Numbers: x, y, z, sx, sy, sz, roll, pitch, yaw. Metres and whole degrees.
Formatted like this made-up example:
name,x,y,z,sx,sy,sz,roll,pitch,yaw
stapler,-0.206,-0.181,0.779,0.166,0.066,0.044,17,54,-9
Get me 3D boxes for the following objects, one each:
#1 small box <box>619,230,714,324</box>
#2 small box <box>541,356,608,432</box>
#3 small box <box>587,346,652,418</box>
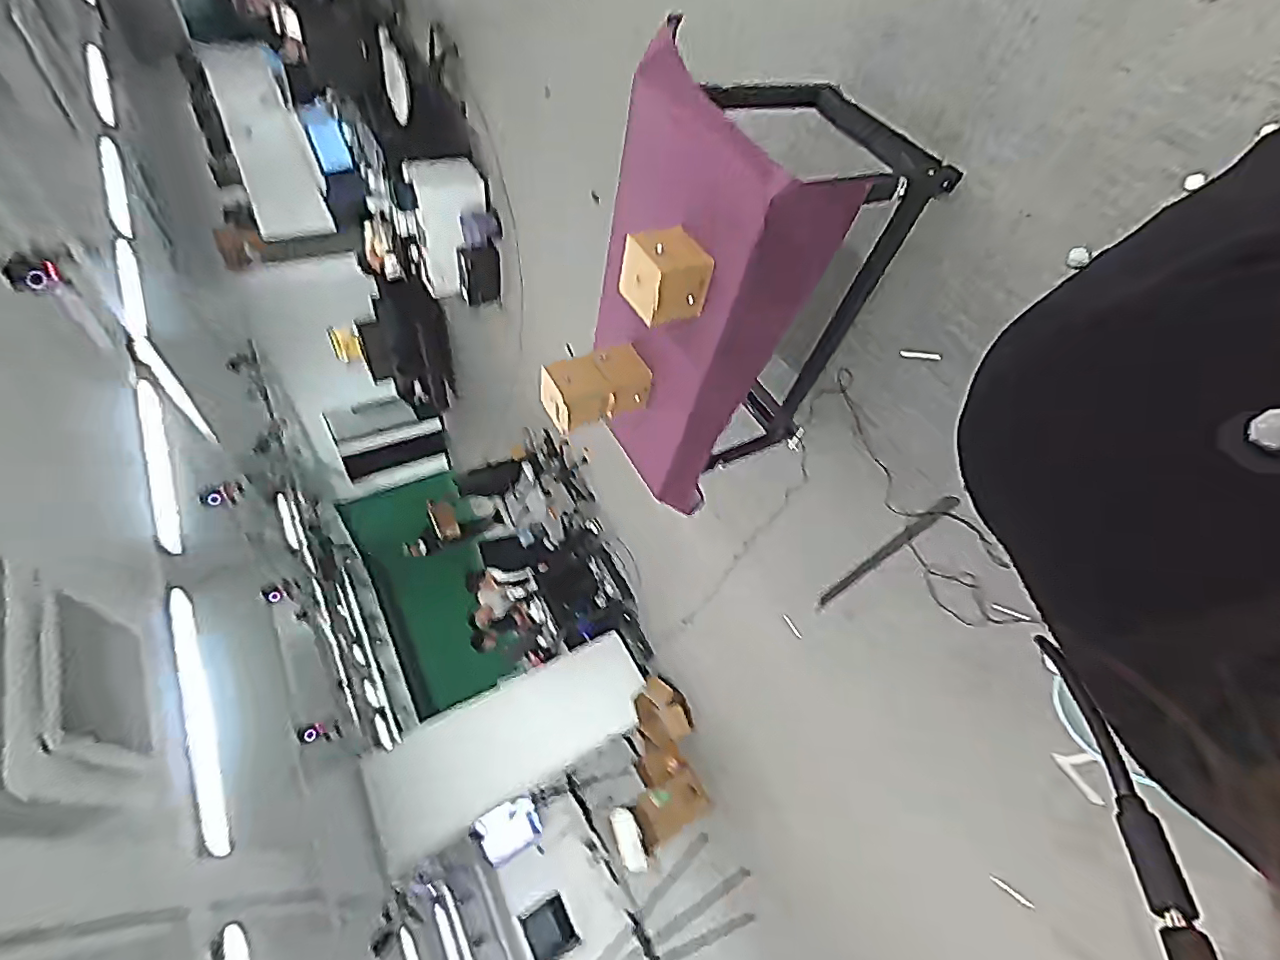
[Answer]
name,x,y,z,sx,sy,sz,roll,pitch,yaw
small box,0.067,-0.547,1.443,0.179,0.176,0.168,56,152,26
small box,-0.222,-0.296,1.820,0.179,0.176,0.168,56,151,29
small box,-0.081,-0.348,1.888,0.179,0.176,0.168,57,152,25
